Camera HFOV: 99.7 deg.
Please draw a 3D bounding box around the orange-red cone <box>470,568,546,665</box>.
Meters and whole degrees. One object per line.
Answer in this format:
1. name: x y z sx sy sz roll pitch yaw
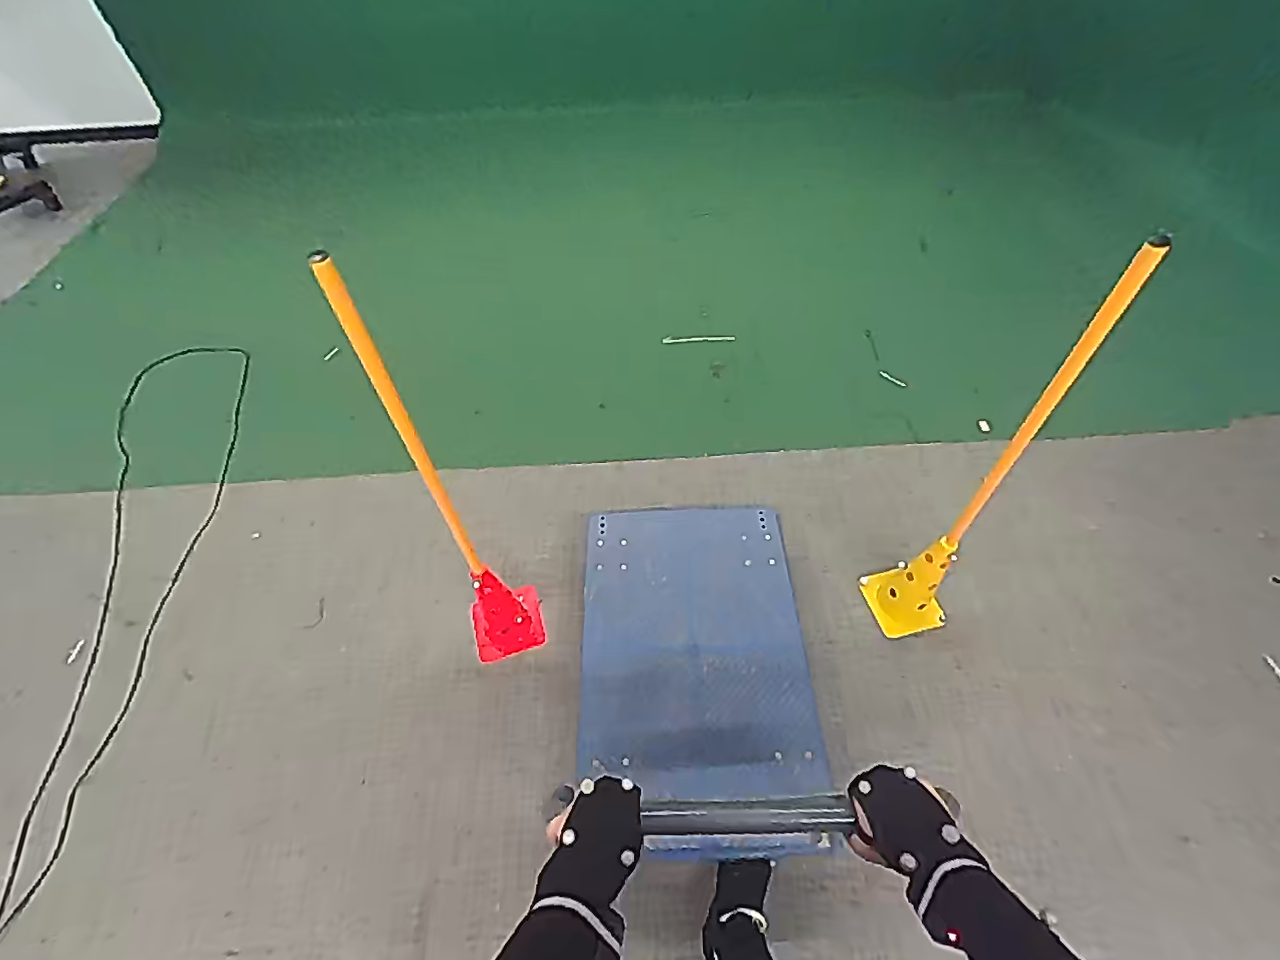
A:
1. orange-red cone: -0.398 0.339 1.481 0.199 0.360 0.198 -16 54 -8
